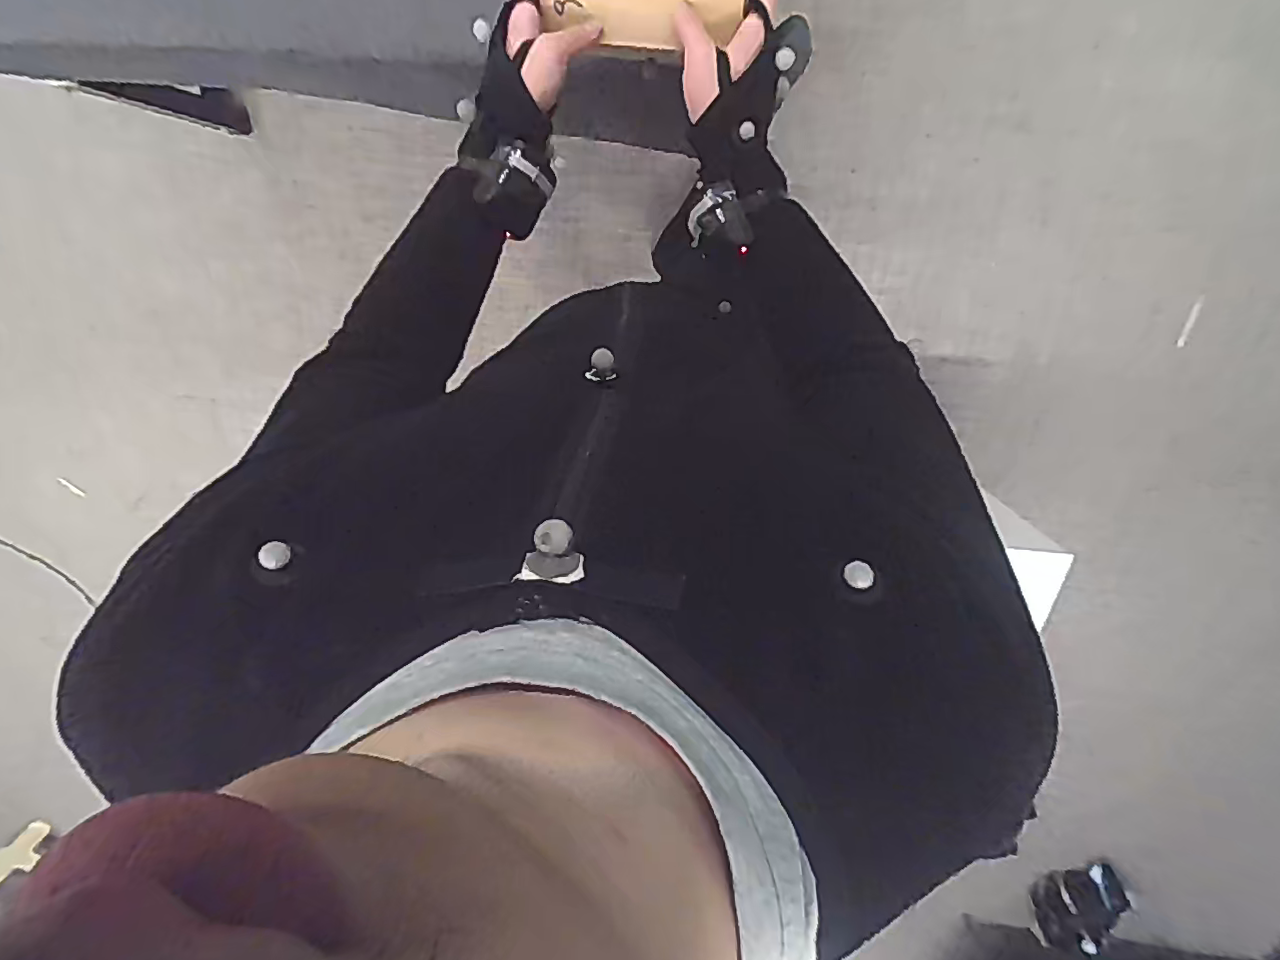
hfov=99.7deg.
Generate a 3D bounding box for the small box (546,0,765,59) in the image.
[{"bbox_3d":[0.020,-0.476,0.462,0.179,0.176,0.168,5,124,-1],"label":"small box"}]
